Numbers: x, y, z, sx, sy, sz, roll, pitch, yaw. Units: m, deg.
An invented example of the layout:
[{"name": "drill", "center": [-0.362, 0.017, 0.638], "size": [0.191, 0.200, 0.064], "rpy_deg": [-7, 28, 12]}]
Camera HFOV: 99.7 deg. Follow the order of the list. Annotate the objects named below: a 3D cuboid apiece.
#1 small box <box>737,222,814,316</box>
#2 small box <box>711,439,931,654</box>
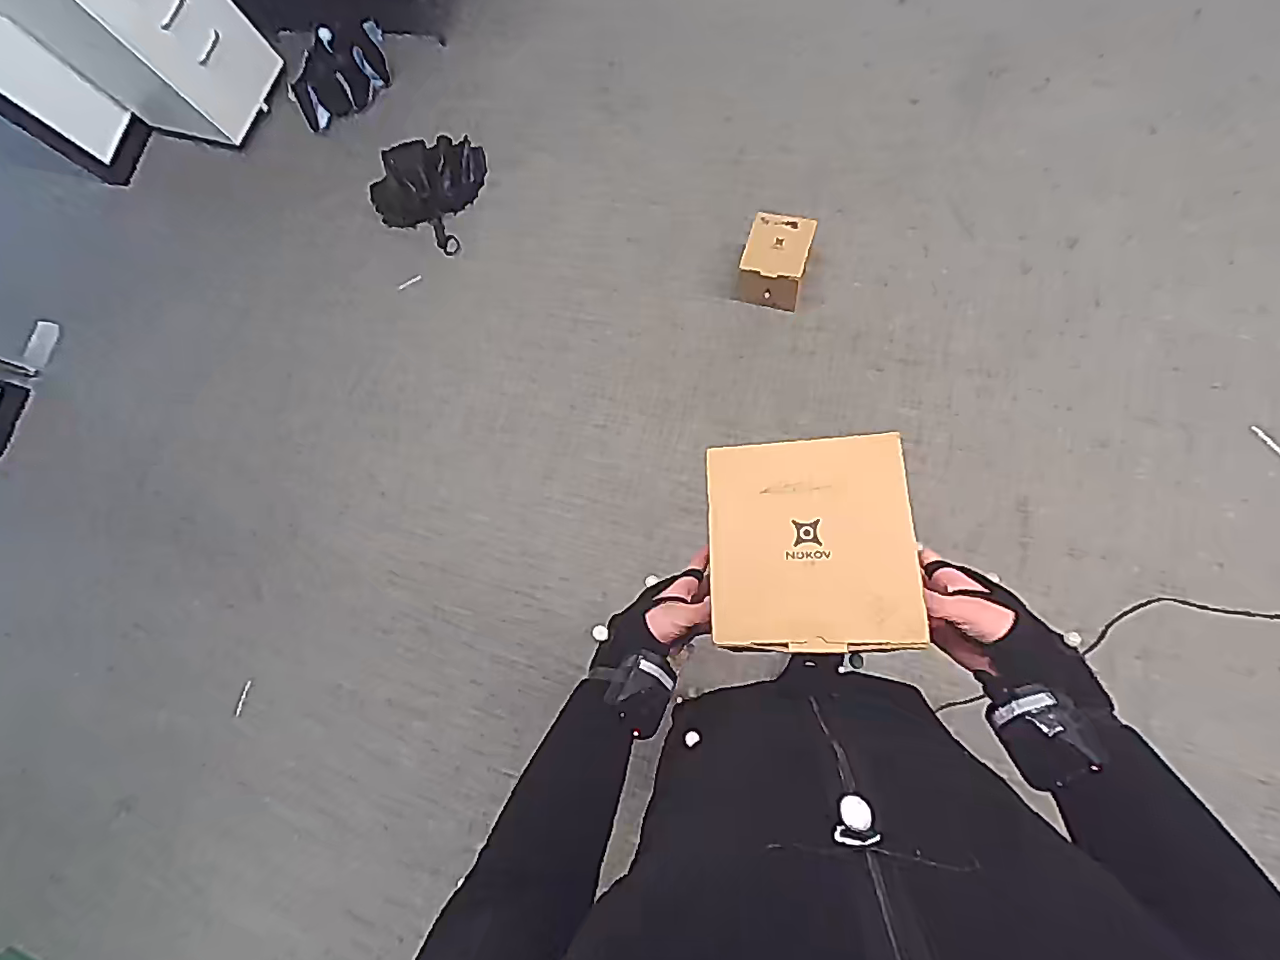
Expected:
[{"name": "small box", "center": [0.379, -0.585, 1.516], "size": [0.168, 0.176, 0.179], "rpy_deg": [16, 82, 15]}, {"name": "small box", "center": [0.163, 0.078, 0.528], "size": [0.168, 0.176, 0.179], "rpy_deg": [-5, 69, 12]}]
